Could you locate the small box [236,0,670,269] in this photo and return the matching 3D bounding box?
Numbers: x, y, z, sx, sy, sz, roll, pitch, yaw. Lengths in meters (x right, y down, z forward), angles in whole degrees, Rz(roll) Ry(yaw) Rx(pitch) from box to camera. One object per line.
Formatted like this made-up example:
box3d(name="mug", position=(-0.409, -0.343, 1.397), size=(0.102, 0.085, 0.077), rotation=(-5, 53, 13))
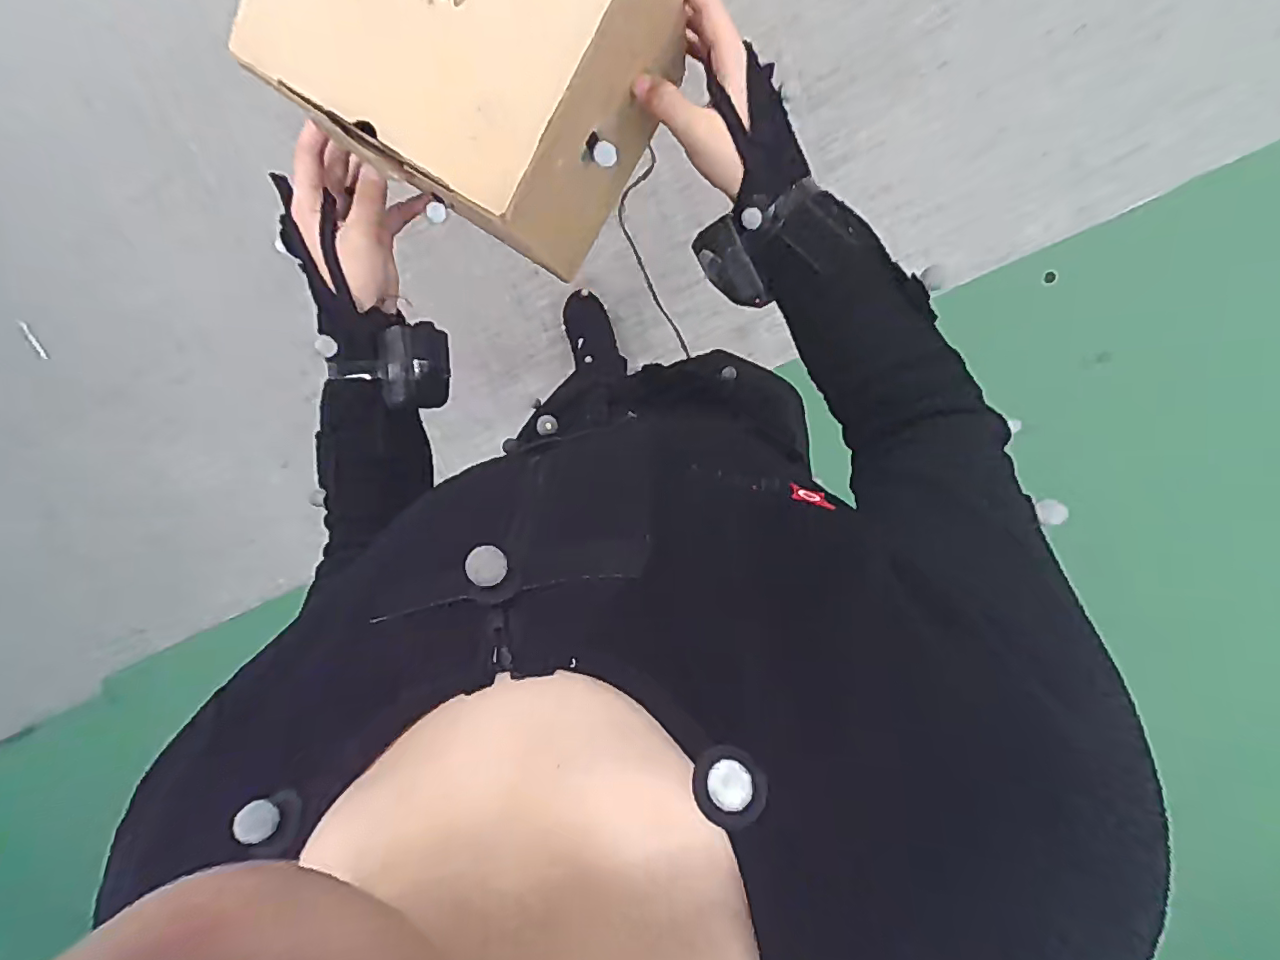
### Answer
box3d(name="small box", position=(-0.090, -0.260, 0.341), size=(0.168, 0.176, 0.179), rotation=(32, 102, -1))
